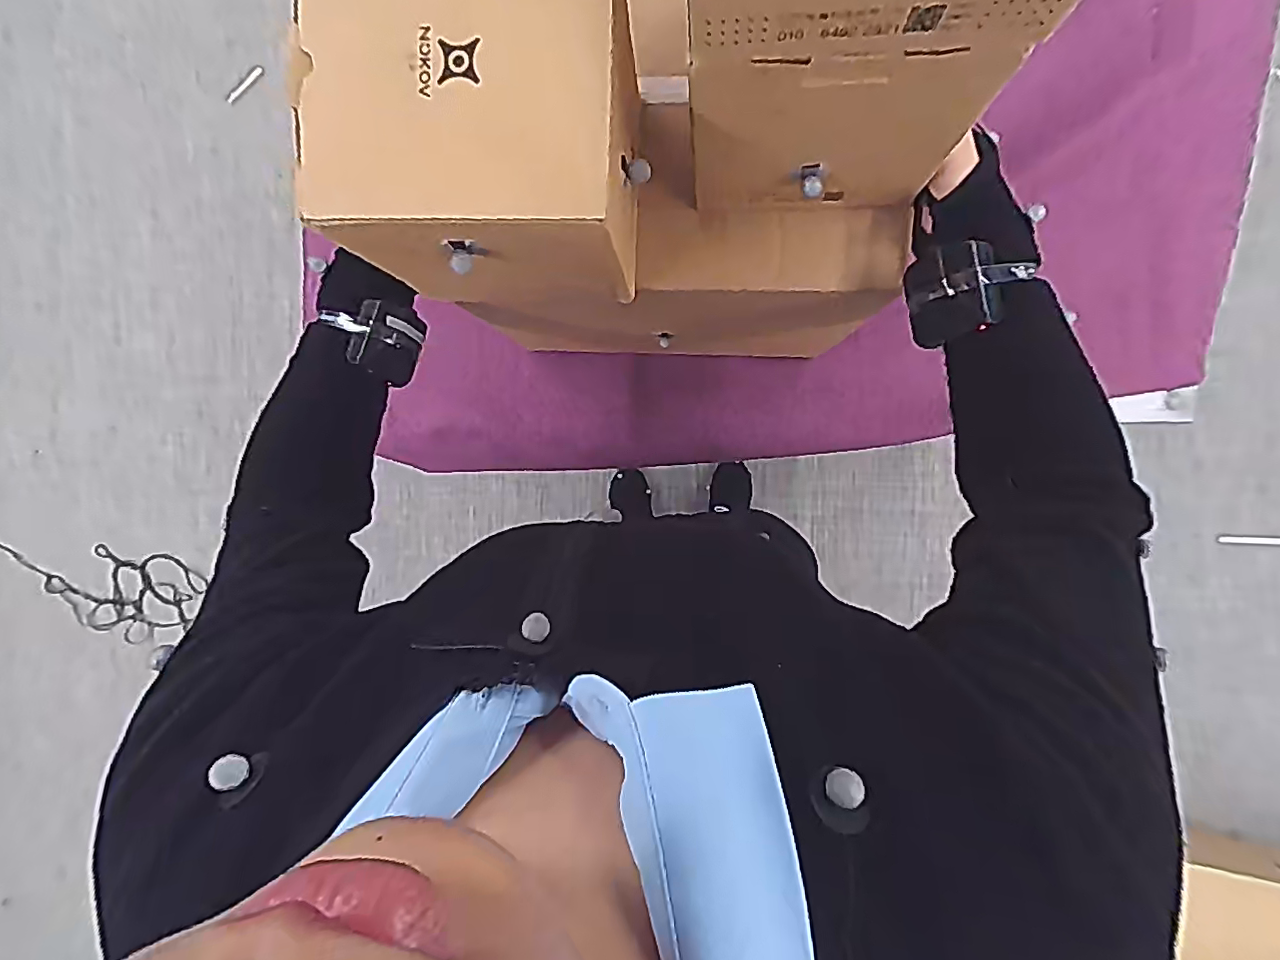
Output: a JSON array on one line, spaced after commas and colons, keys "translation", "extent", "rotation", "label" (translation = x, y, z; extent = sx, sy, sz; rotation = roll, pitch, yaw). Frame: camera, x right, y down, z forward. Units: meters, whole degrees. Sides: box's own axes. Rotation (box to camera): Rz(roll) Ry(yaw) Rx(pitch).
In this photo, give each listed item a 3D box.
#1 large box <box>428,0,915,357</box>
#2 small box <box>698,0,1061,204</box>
[{"translation": [0.036, -0.313, 0.586], "extent": [0.408, 0.320, 0.320], "rotation": [2, 92, 6], "label": "large box"}, {"translation": [0.122, -0.297, 0.331], "extent": [0.168, 0.176, 0.179], "rotation": [2, 93, 7], "label": "small box"}]
